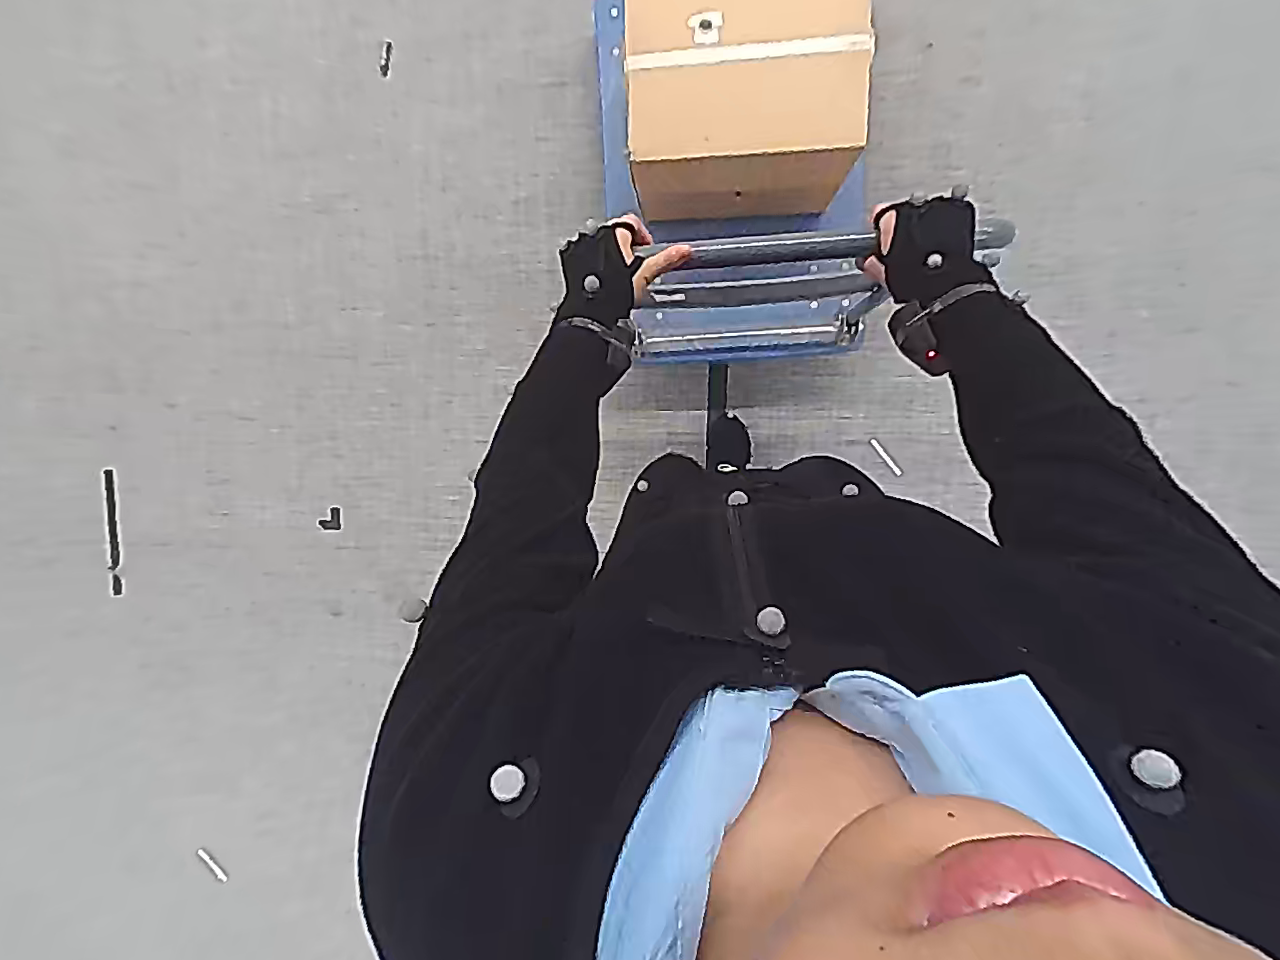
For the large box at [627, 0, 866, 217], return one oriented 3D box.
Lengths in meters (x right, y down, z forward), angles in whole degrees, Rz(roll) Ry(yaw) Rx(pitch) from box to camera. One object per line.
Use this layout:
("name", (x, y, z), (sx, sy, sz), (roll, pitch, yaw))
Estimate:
("large box", (0.197, -0.741, 1.067), (0.408, 0.320, 0.320), (-1, 96, 6))
